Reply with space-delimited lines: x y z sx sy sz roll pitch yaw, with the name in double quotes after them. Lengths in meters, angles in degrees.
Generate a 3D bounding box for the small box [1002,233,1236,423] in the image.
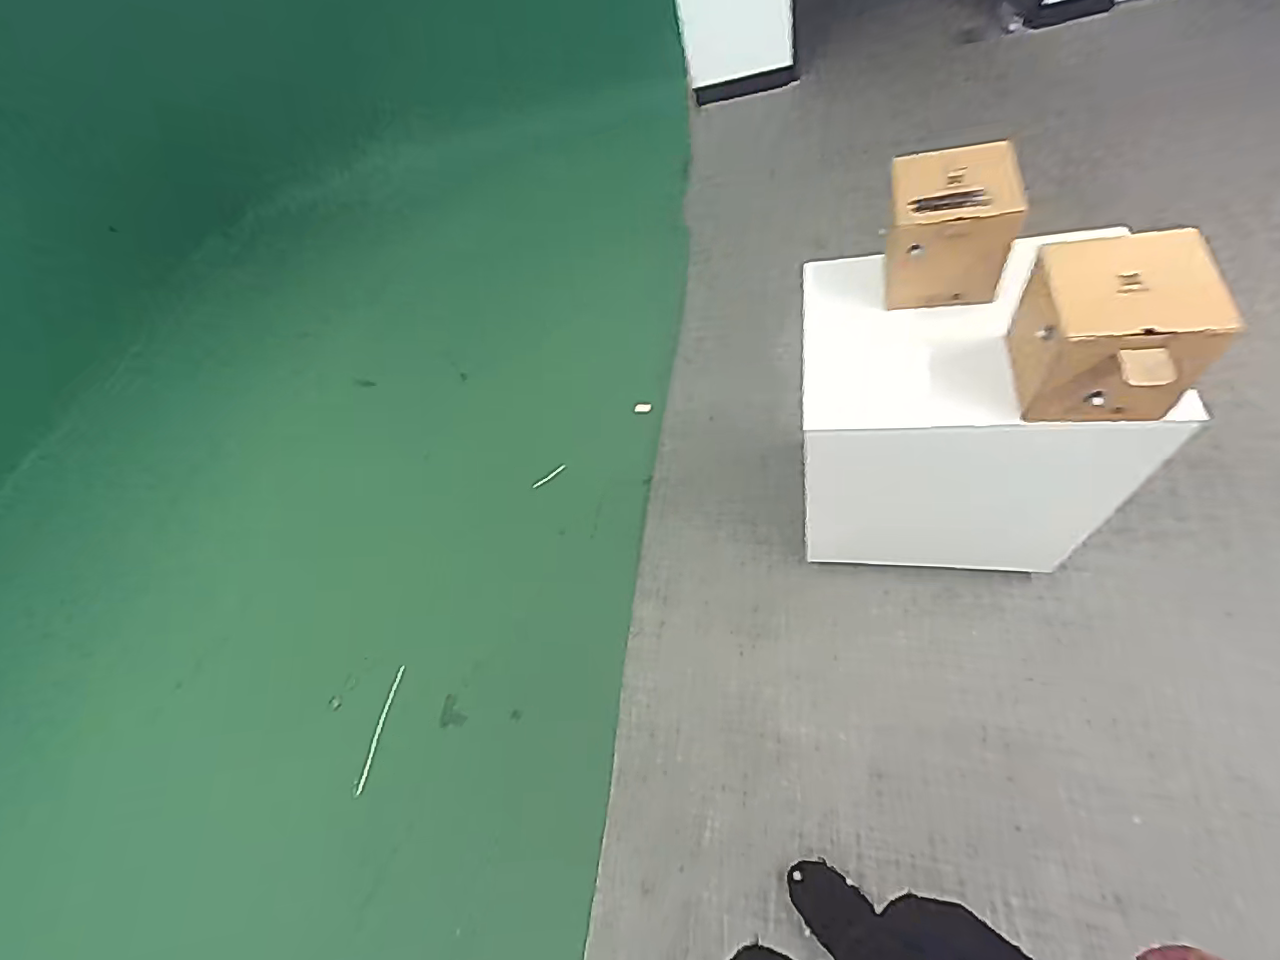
0.609 -0.195 0.721 0.168 0.176 0.179 1 59 18 "small box"
